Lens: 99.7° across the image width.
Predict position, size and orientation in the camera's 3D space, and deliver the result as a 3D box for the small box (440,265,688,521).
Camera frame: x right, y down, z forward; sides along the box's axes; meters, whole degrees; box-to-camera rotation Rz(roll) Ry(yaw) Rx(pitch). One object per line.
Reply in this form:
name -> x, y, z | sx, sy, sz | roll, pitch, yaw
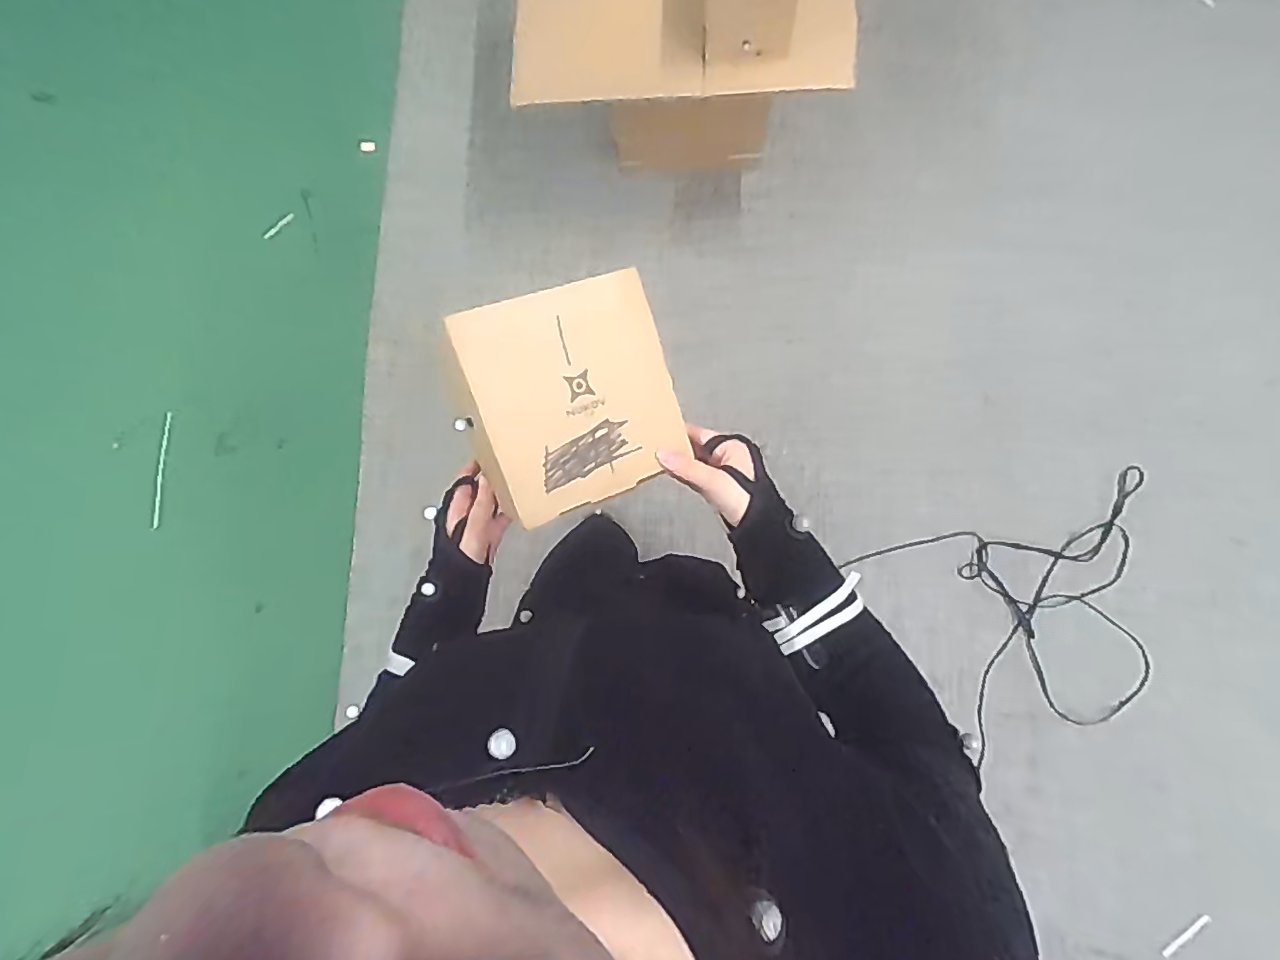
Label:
small box -> -0.081, -0.080, 0.517 | 0.168, 0.176, 0.179 | -21, 101, -19
